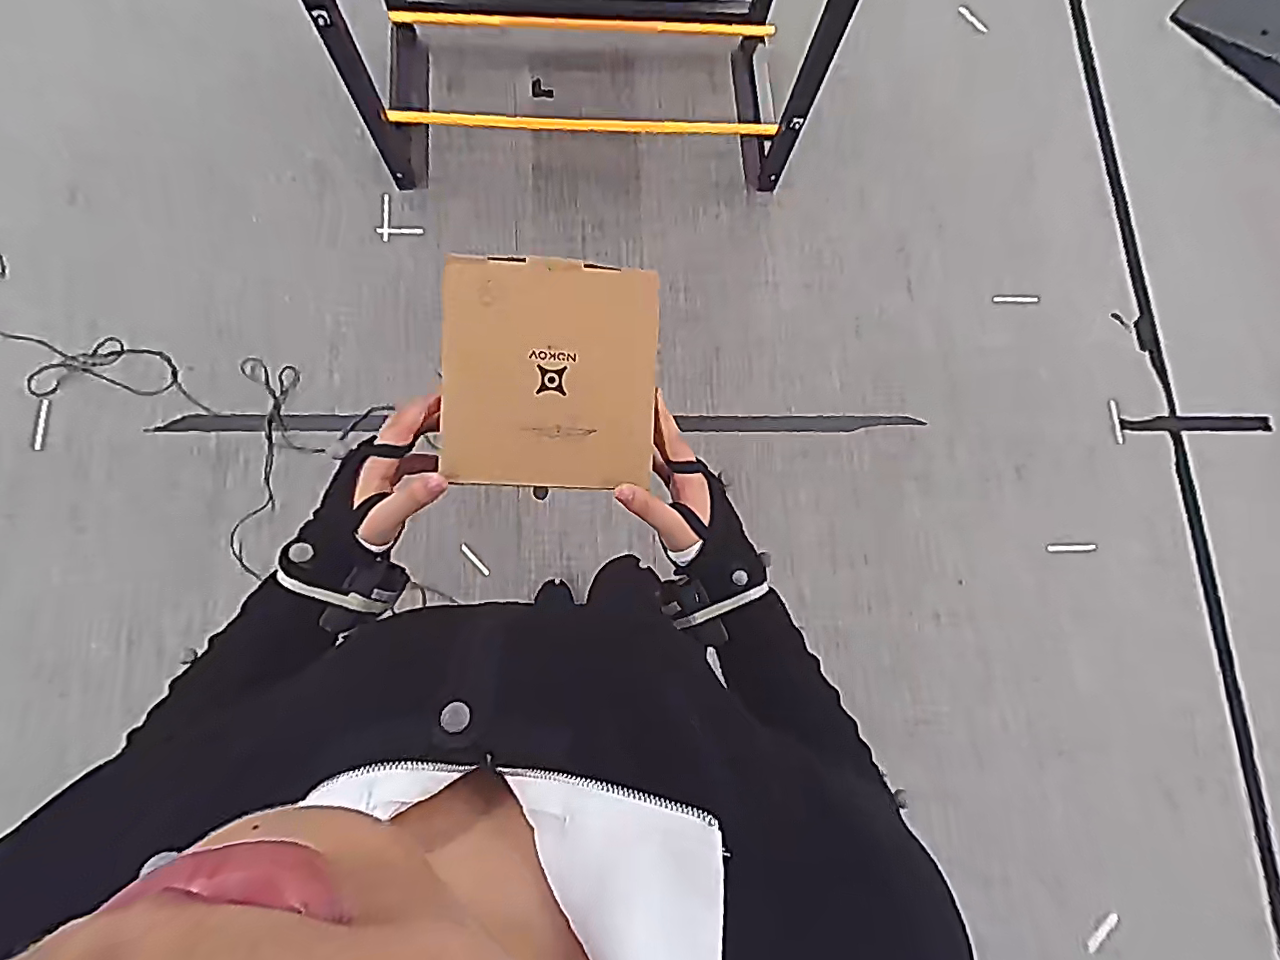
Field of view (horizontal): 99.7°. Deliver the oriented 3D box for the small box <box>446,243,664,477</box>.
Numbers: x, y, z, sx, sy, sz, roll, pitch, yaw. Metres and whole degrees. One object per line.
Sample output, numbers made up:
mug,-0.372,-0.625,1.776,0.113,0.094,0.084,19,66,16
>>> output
small box,-0.075,-0.094,0.503,0.168,0.176,0.179,2,92,-6
